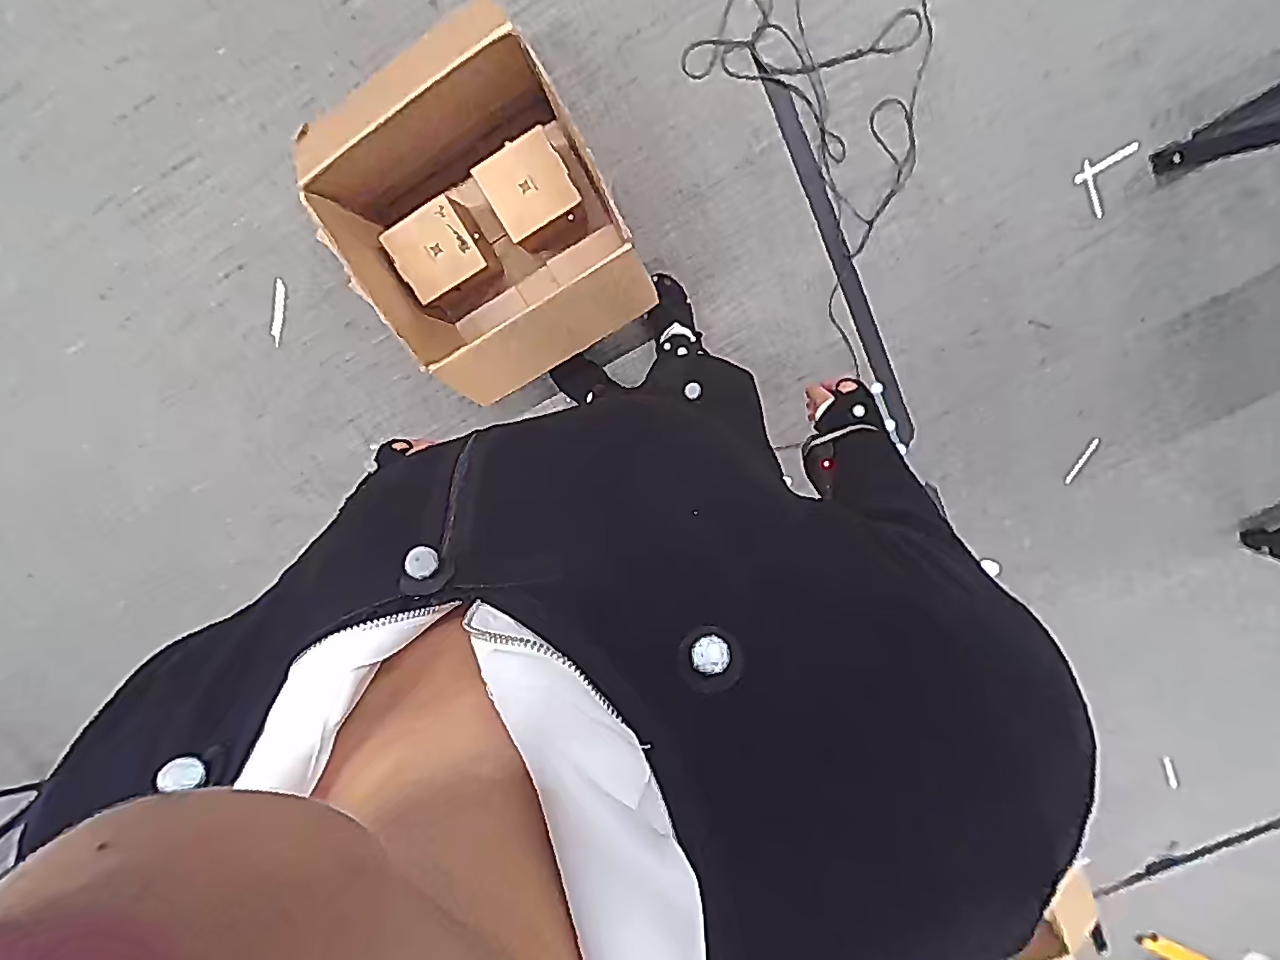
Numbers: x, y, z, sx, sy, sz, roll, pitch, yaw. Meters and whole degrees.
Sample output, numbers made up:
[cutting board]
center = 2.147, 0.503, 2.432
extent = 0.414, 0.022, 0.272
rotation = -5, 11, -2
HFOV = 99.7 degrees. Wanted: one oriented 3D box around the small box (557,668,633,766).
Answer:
[small box]
center = -0.129, 0.704, 1.617
extent = 0.168, 0.176, 0.179
rotation = -25, 105, 4
